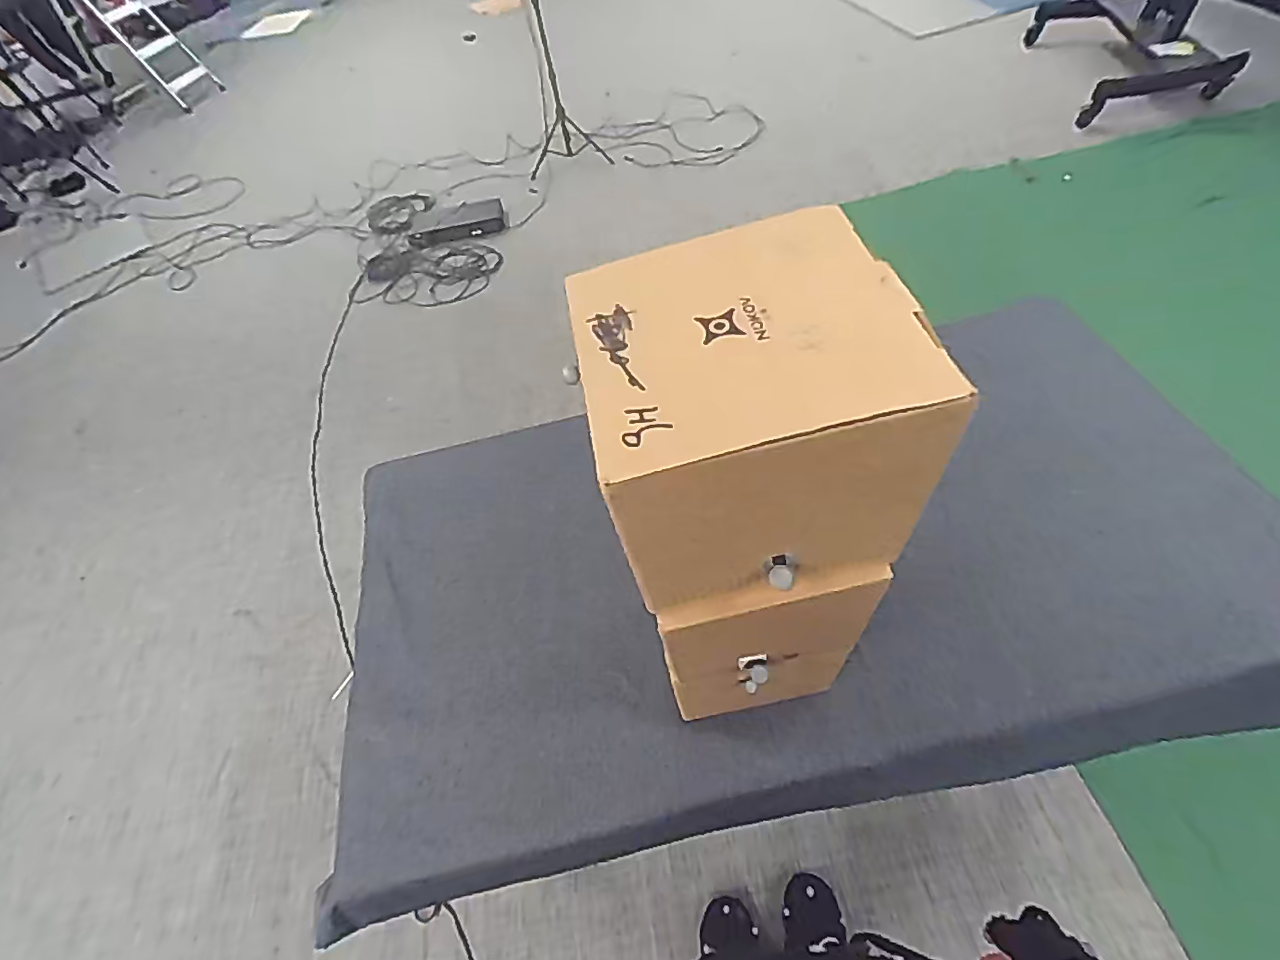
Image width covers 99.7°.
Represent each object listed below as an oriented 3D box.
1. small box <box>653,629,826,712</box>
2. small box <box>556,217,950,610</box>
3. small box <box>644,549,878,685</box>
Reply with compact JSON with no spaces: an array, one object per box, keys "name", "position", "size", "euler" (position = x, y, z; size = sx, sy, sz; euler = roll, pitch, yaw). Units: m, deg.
[{"name":"small box","position":[0.105,0.151,0.617],"size":[0.179,0.176,0.168],"euler":[-12,55,1]},{"name":"small box","position":[0.055,-0.033,0.354],"size":[0.179,0.176,0.168],"euler":[-13,54,2]},{"name":"small box","position":[0.082,0.062,0.485],"size":[0.168,0.176,0.179],"euler":[-14,56,2]}]
